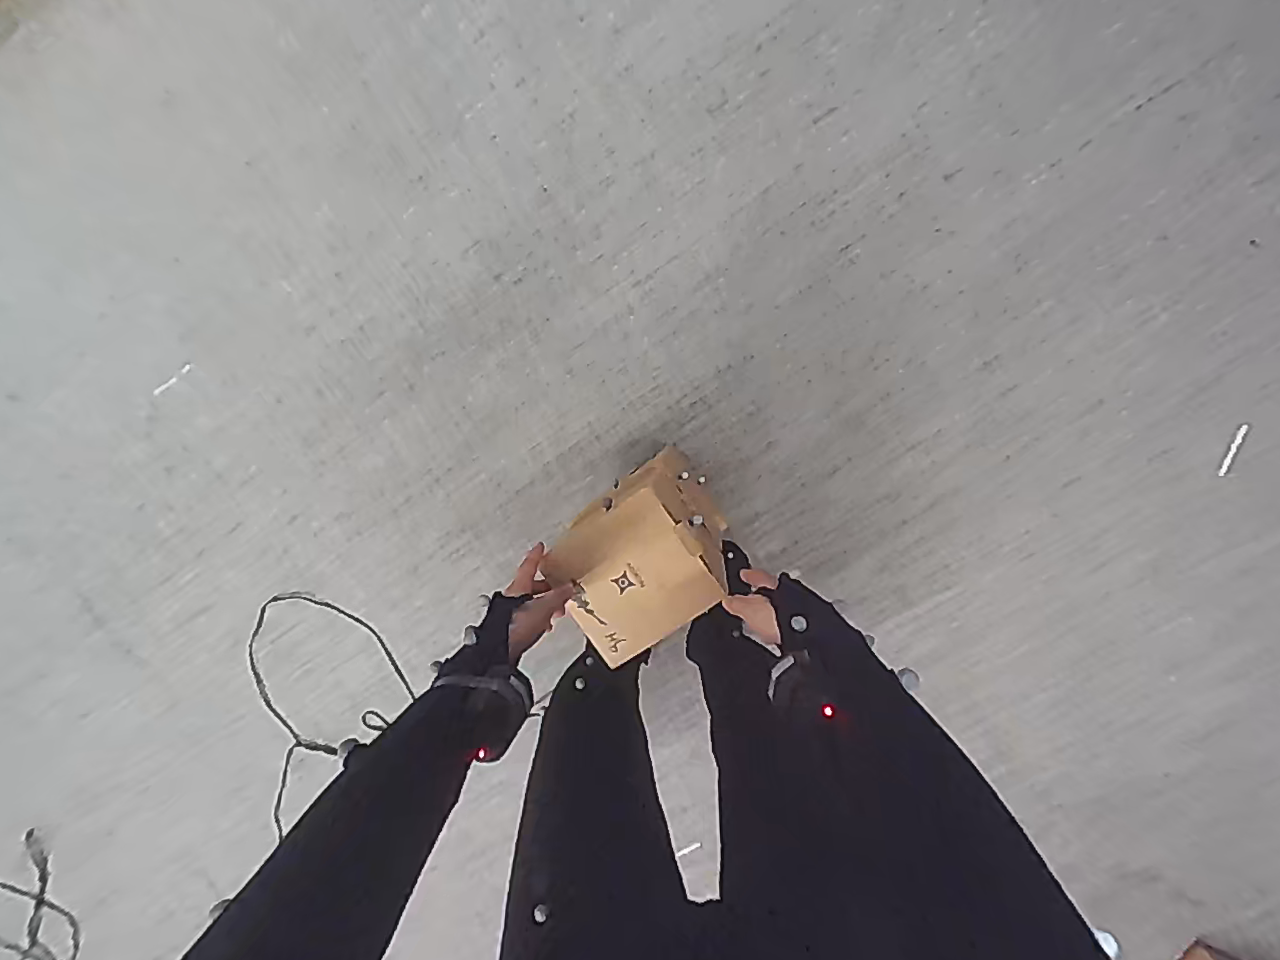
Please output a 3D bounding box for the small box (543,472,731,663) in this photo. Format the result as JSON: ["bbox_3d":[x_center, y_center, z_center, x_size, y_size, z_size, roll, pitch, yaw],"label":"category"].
[{"bbox_3d":[0.001,0.104,0.729,0.179,0.176,0.168,-34,92,8],"label":"small box"}]

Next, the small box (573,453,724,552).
[{"bbox_3d":[0.019,0.070,0.890,0.179,0.176,0.168,-35,92,10],"label":"small box"}]
